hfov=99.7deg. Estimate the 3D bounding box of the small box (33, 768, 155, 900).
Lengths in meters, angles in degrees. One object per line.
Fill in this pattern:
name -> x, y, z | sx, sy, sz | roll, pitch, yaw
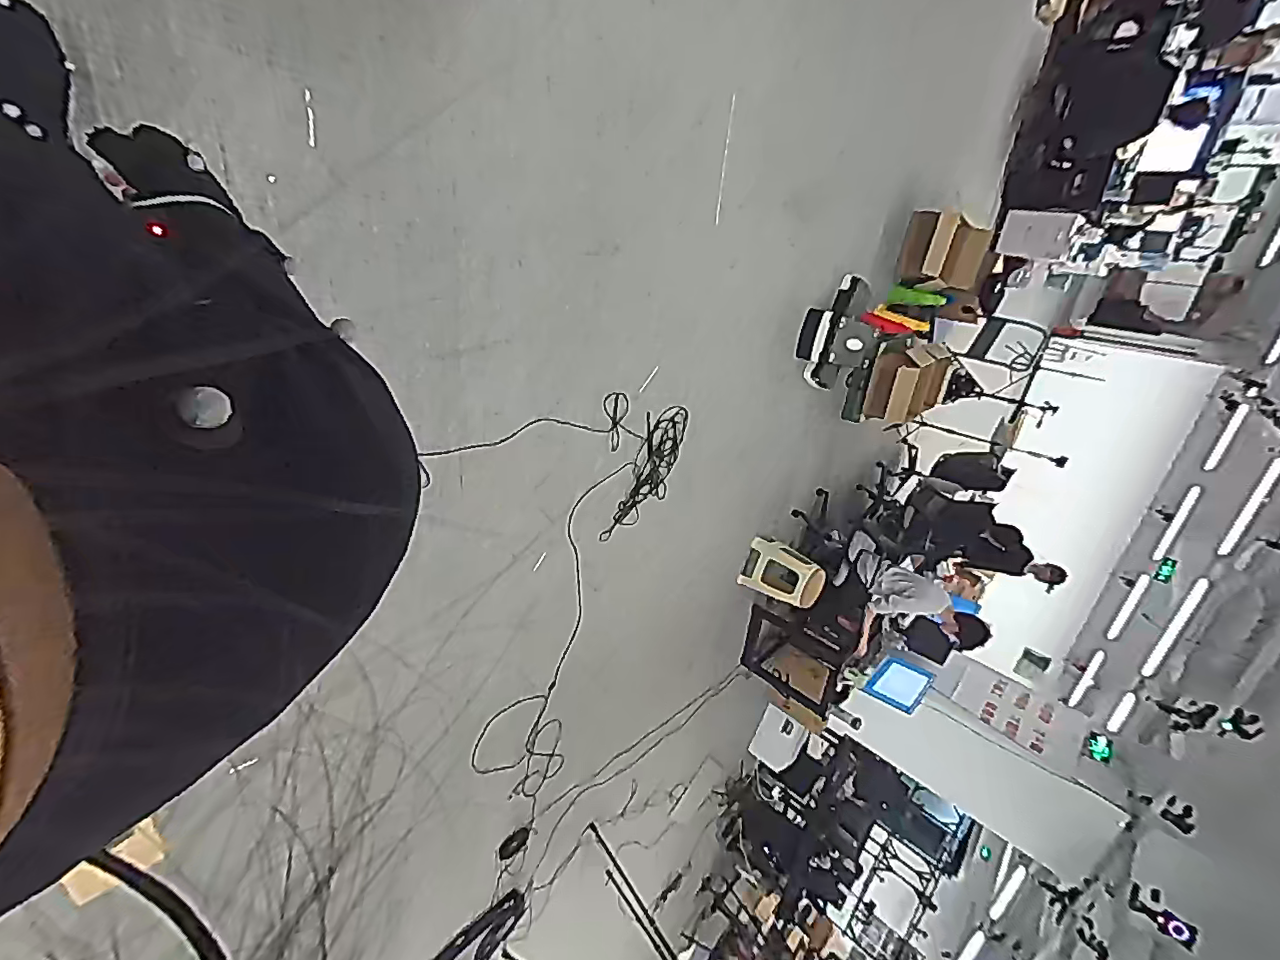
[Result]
small box -> -1.307, 0.832, 1.296 | 0.168, 0.176, 0.179 | -19, 126, -43
